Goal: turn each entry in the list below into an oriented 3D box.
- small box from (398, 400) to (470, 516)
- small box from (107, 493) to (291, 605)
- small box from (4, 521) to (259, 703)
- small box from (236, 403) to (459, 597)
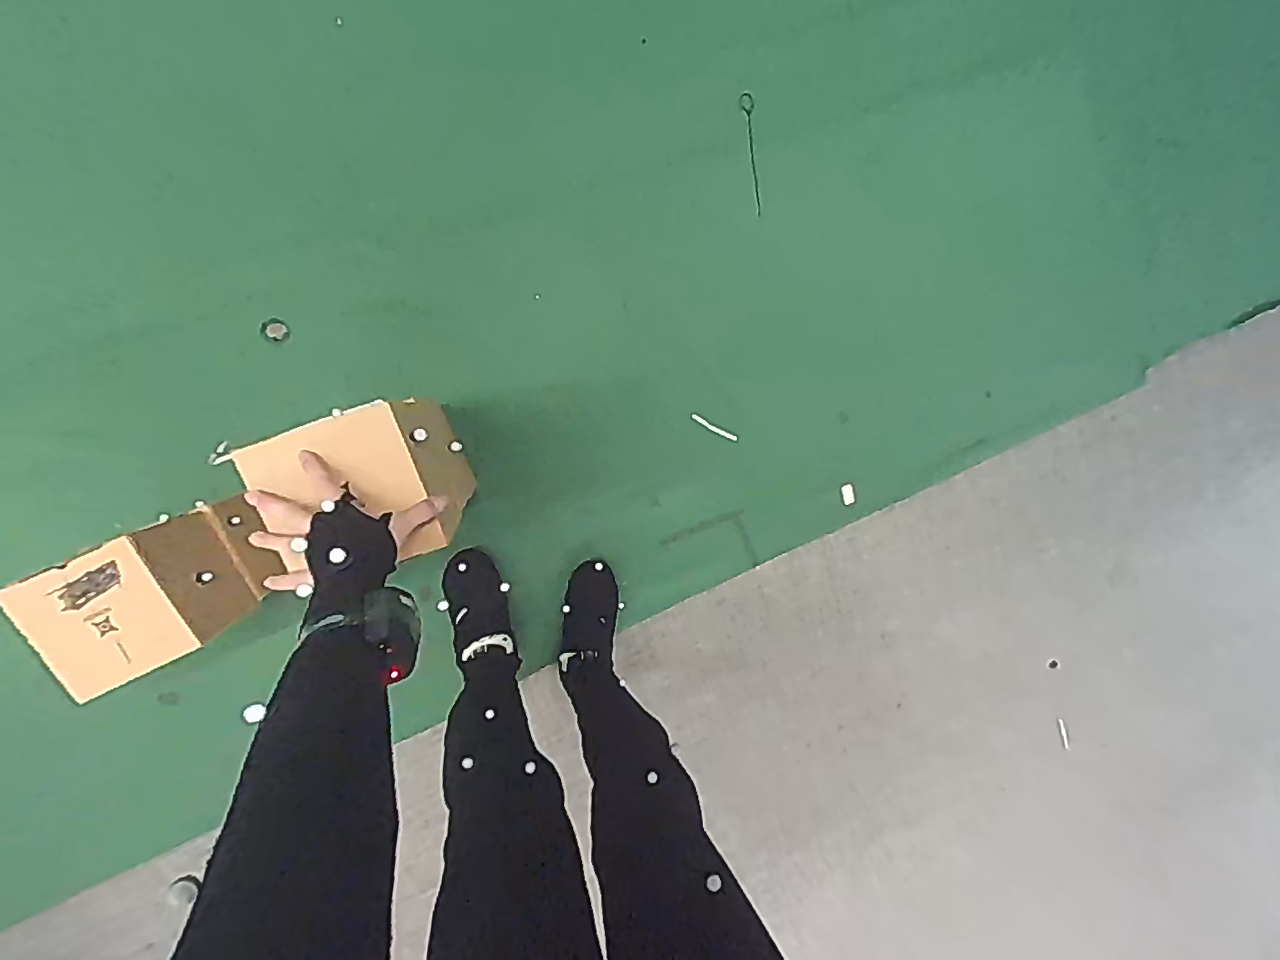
[{"bbox_3d":[-0.371,-0.013,0.824,0.168,0.176,0.179,-20,101,-9],"label":"small box"},{"bbox_3d":[-0.735,0.140,0.937,0.168,0.176,0.179,-23,101,-8],"label":"small box"},{"bbox_3d":[-0.705,0.173,0.779,0.168,0.176,0.179,-26,103,-7],"label":"small box"},{"bbox_3d":[-0.338,0.014,0.666,0.168,0.176,0.179,-20,102,-9],"label":"small box"}]
